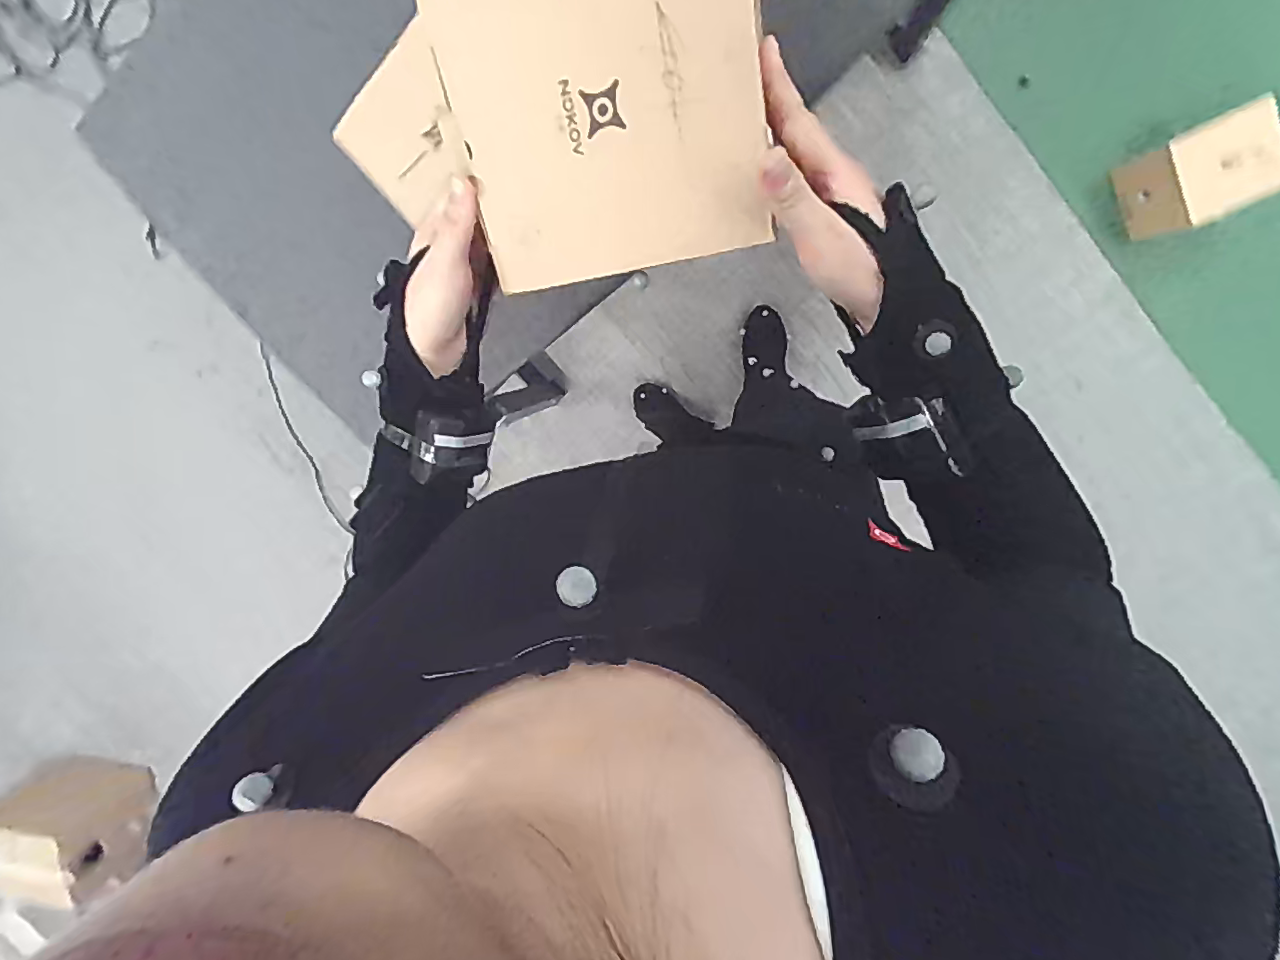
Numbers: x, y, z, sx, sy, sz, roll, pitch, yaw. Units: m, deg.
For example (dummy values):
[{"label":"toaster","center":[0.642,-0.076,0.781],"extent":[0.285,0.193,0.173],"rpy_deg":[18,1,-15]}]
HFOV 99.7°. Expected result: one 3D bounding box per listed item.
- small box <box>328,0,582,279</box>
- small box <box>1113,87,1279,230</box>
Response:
[{"label":"small box","center":[-0.181,-0.348,0.592],"extent":[0.179,0.176,0.168],"rpy_deg":[-40,95,16]},{"label":"small box","center":[1.112,-0.632,1.093],"extent":[0.179,0.176,0.168],"rpy_deg":[-24,101,13]}]
